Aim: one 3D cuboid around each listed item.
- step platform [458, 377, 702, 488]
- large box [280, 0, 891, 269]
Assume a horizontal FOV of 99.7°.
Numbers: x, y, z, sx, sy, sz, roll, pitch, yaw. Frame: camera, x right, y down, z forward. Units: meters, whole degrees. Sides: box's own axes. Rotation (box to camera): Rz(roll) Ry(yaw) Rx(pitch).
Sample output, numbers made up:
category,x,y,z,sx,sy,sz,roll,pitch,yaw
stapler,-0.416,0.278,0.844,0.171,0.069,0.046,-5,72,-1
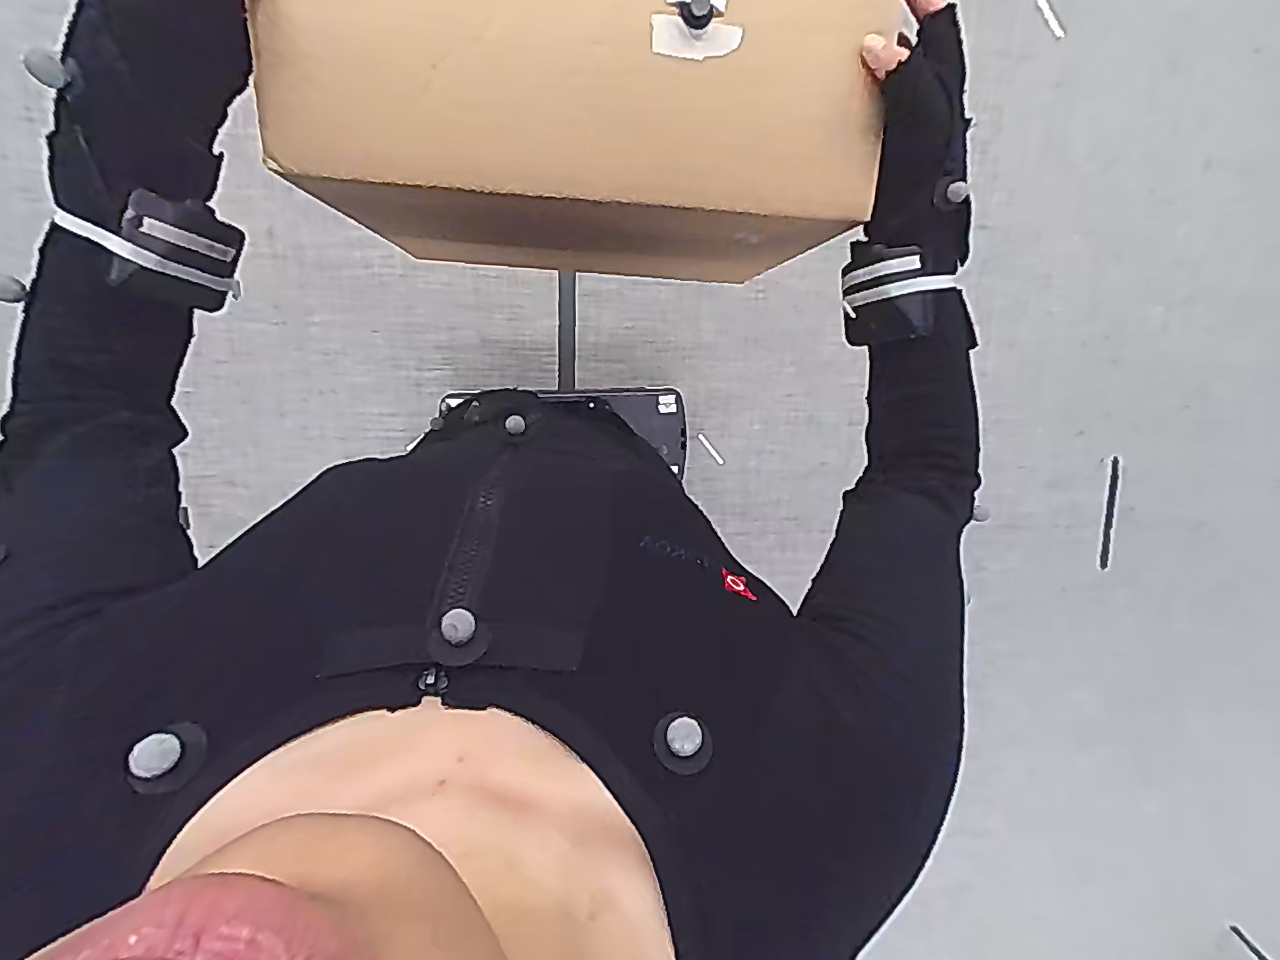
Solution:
category,x,y,z,sx,sy,sz,roll,pitch,yaw
step platform,-0.163,-0.141,1.554,0.684,0.204,0.286,-3,100,-5
large box,-0.041,-0.384,0.487,0.408,0.320,0.320,1,103,-7
